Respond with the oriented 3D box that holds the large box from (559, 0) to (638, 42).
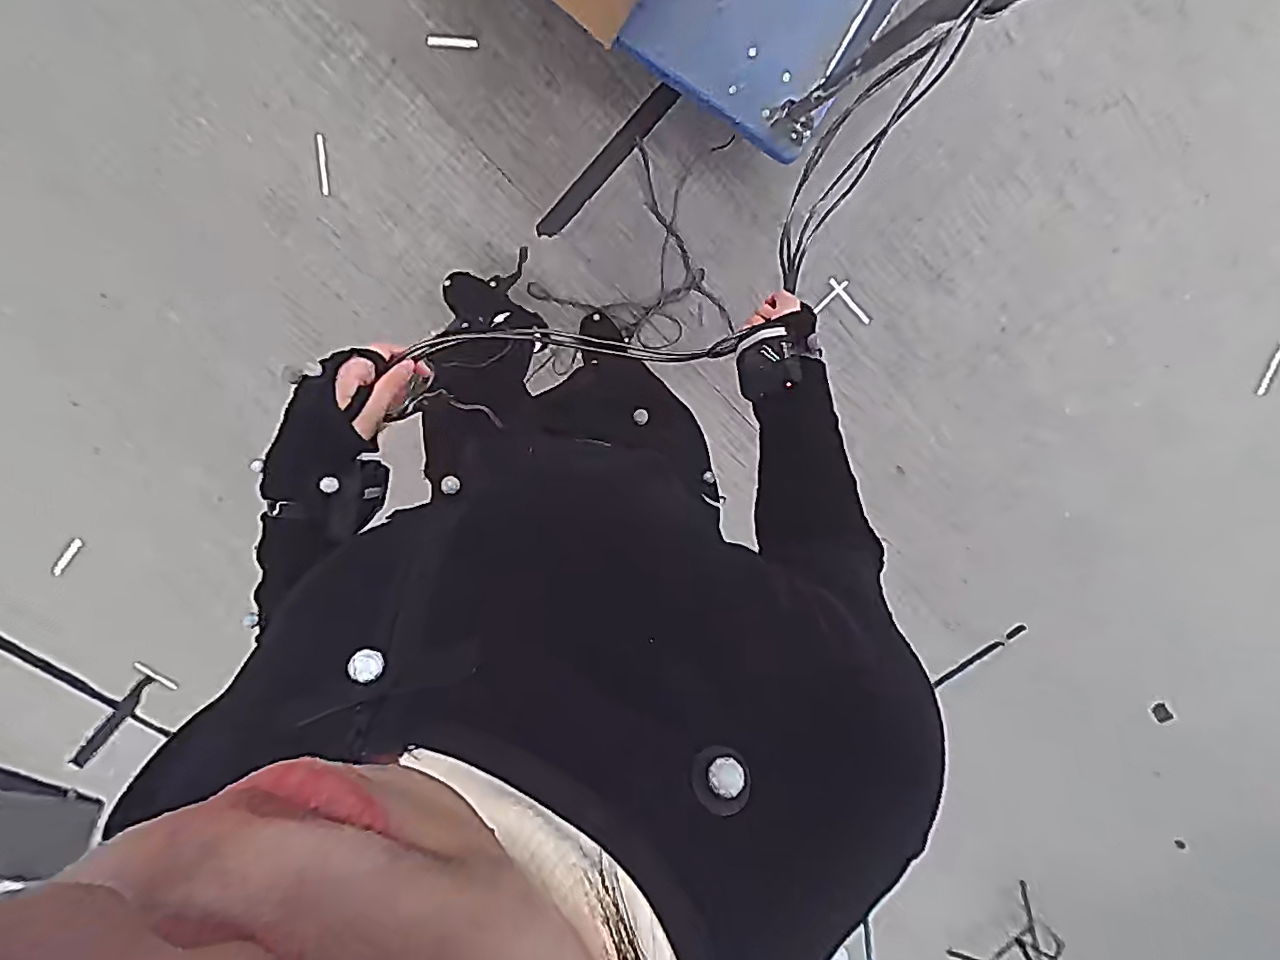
[{"bbox_3d":[-0.124,-0.979,0.790,0.408,0.320,0.320,33,106,-13],"label":"large box"}]
